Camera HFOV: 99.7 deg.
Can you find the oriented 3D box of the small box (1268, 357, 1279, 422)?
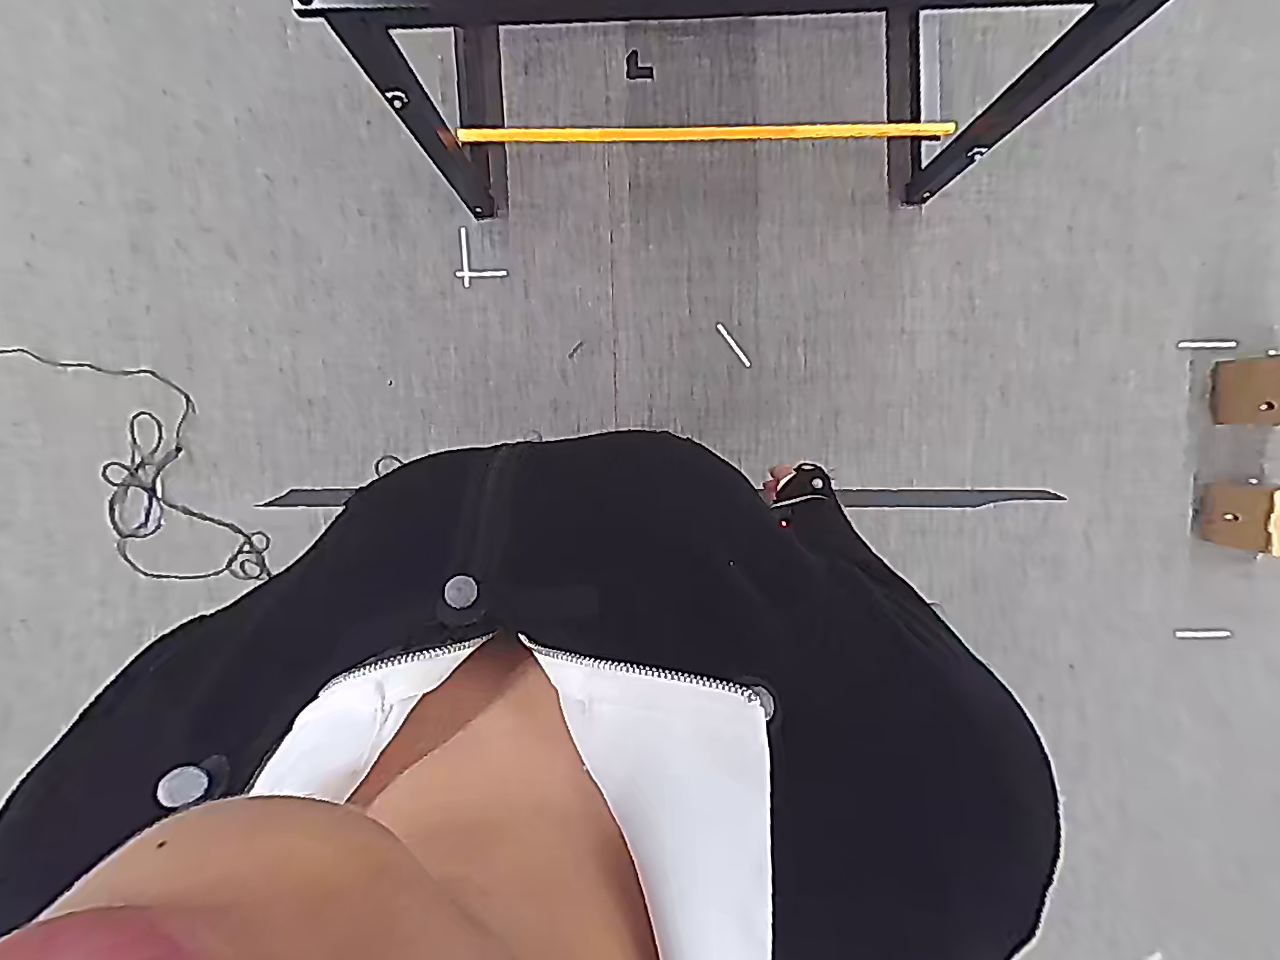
[{"bbox_3d":[1.620,-0.219,1.234,0.179,0.176,0.168,-2,93,1],"label":"small box"}]

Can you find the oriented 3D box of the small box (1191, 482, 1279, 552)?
[{"bbox_3d":[1.624,0.095,1.427,0.179,0.176,0.168,1,95,1],"label":"small box"}]

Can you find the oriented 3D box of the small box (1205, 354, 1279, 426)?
[{"bbox_3d":[1.625,-0.230,1.396,0.168,0.176,0.179,-3,95,0],"label":"small box"}]
